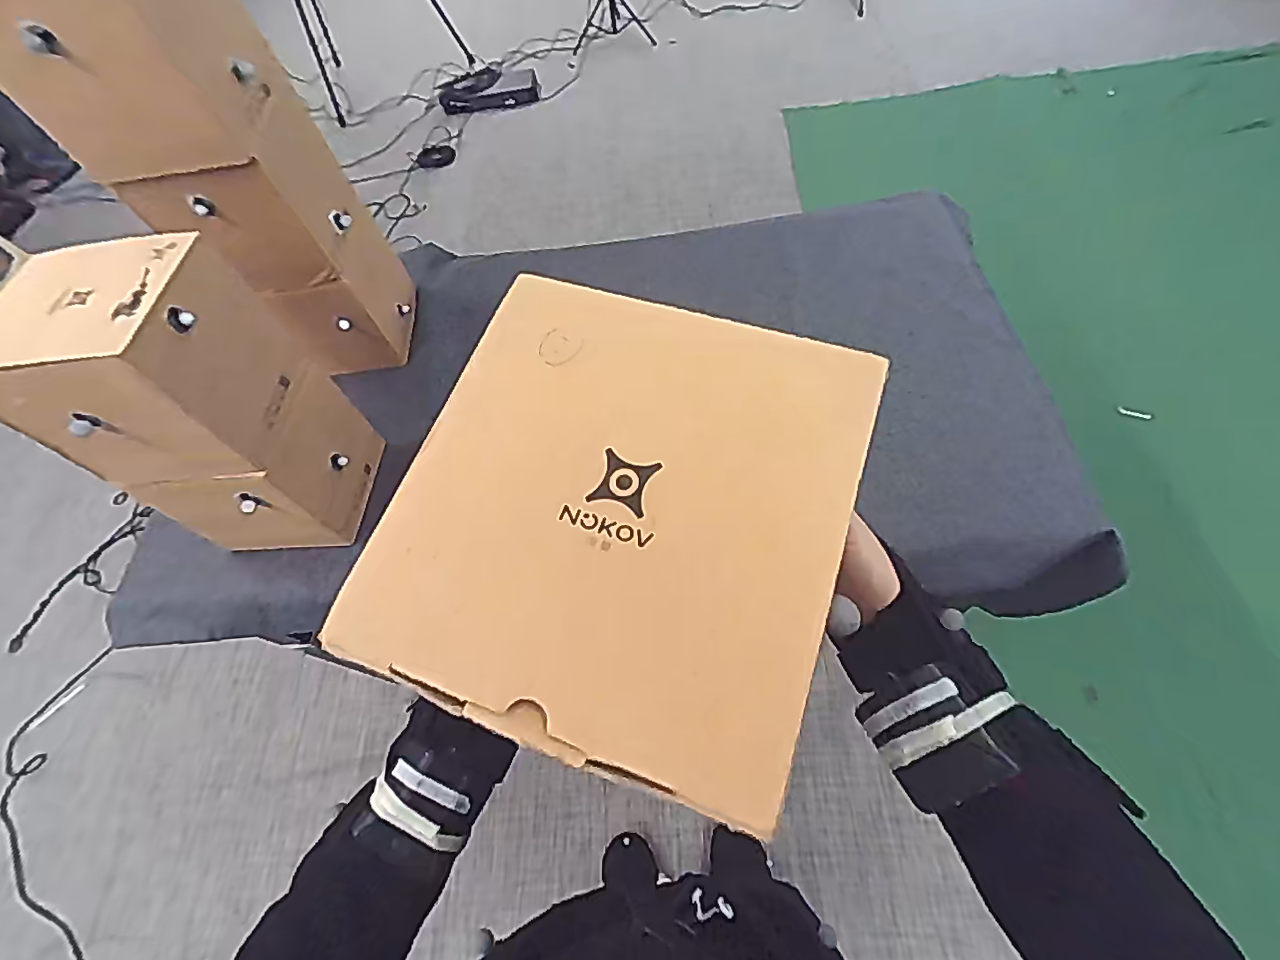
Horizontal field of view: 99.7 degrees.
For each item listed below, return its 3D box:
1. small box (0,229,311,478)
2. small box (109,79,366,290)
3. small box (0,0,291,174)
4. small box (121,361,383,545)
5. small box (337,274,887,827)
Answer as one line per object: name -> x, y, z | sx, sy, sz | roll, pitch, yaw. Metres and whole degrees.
small box -> -0.479, -0.115, 0.539 | 0.179, 0.176, 0.168 | -6, 58, 4
small box -> -0.486, -0.363, 0.686 | 0.179, 0.176, 0.168 | -7, 62, 2
small box -> -0.501, -0.434, 0.539 | 0.179, 0.176, 0.168 | -6, 62, 3
small box -> -0.457, -0.027, 0.675 | 0.179, 0.176, 0.168 | -3, 58, 6
small box -> 0.001, 0.034, 0.277 | 0.168, 0.176, 0.179 | 17, 71, 12
